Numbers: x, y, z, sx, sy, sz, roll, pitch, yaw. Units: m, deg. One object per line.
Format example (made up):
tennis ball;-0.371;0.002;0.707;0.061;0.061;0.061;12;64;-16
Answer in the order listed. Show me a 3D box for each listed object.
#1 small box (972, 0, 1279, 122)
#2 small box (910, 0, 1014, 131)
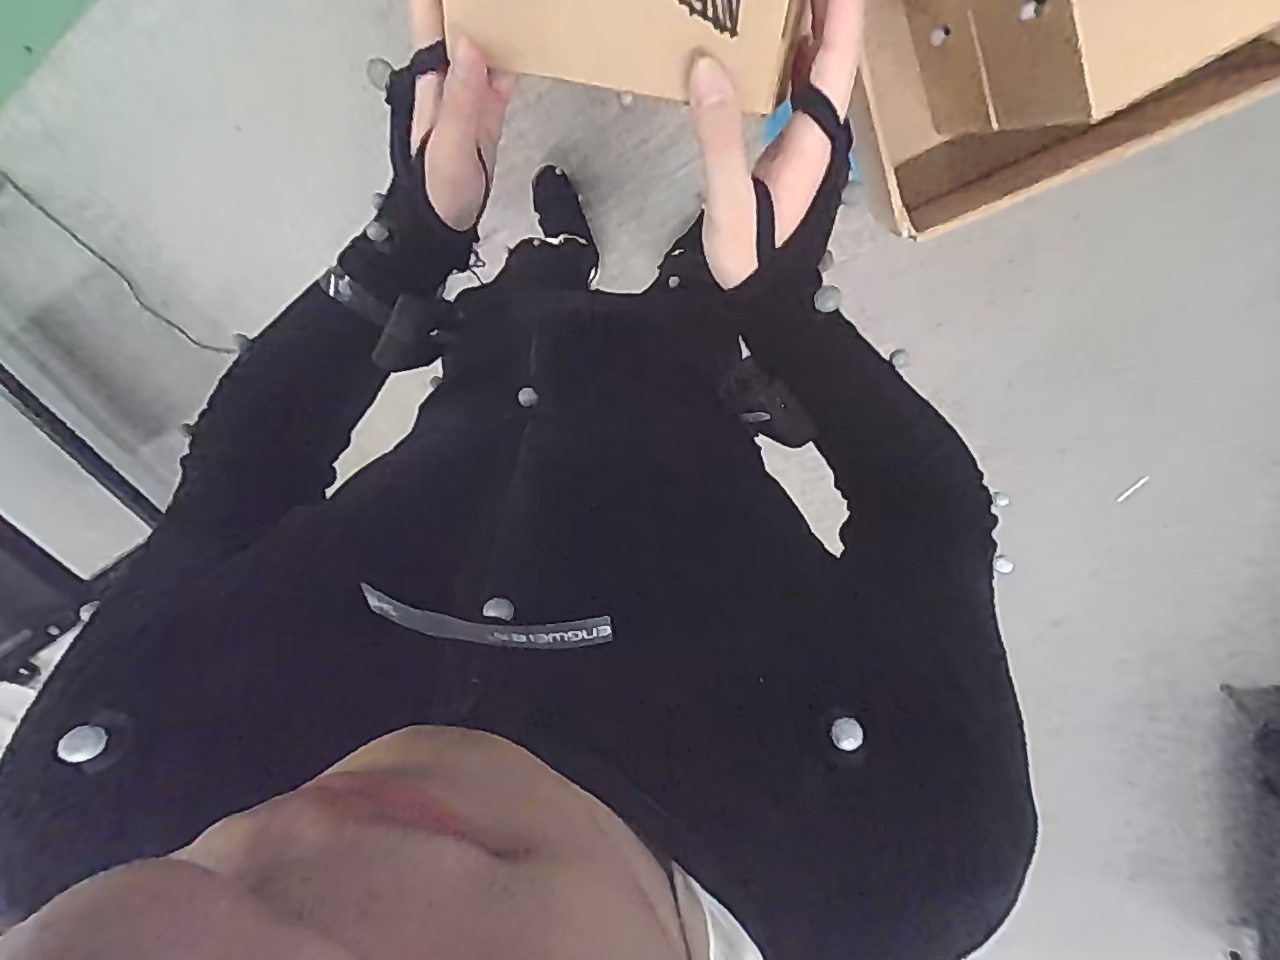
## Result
small box;0.379;-0.410;0.417;0.168;0.176;0.179;-23;115;22
small box;0.402;-0.492;0.556;0.168;0.176;0.179;-22;115;21
